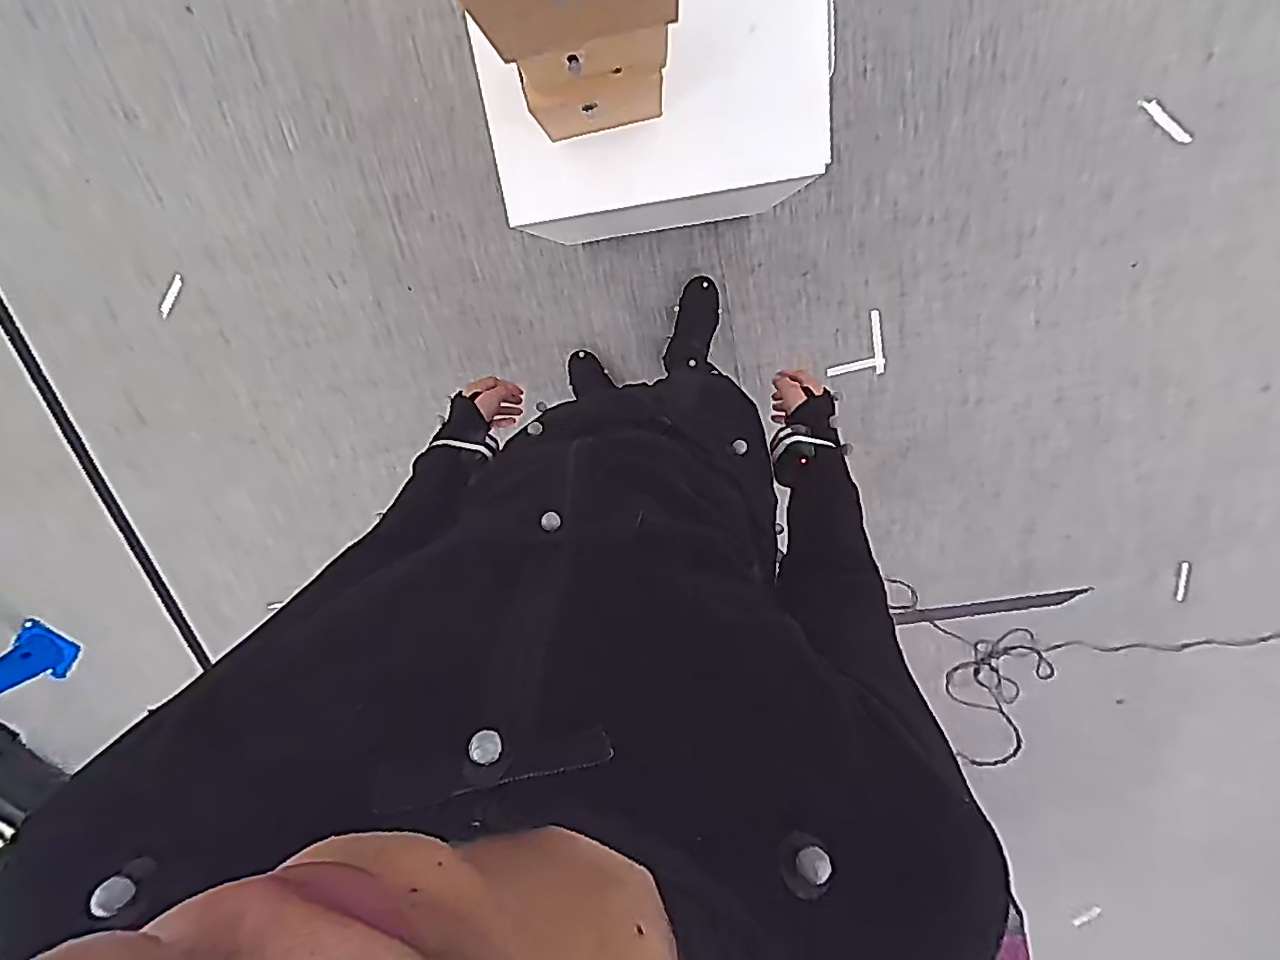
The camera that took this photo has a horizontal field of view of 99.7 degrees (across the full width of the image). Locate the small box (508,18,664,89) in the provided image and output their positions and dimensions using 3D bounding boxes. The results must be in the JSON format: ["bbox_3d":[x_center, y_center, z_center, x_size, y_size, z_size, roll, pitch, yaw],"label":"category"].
[{"bbox_3d":[-0.066,-0.544,0.570,0.168,0.176,0.179,-9,109,5],"label":"small box"}]

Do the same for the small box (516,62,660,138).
[{"bbox_3d":[-0.071,-0.586,0.728,0.179,0.176,0.168,-10,110,5],"label":"small box"}]

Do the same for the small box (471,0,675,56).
[{"bbox_3d":[-0.067,-0.471,0.422,0.179,0.176,0.168,-9,110,5],"label":"small box"}]
